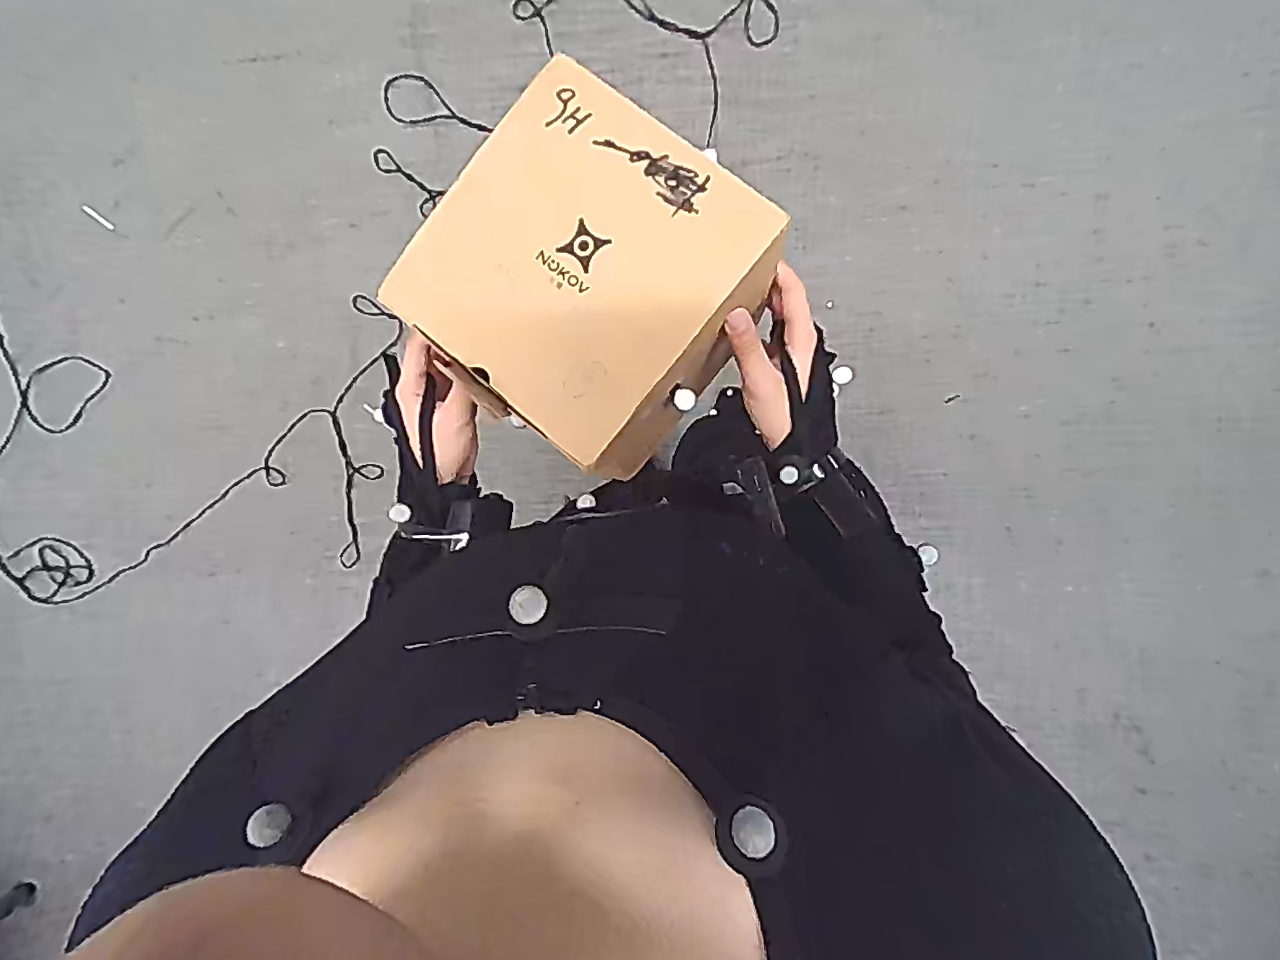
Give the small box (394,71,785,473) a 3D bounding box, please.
[{"bbox_3d":[-0.023,-0.118,0.387,0.168,0.176,0.179,40,93,6],"label":"small box"}]
